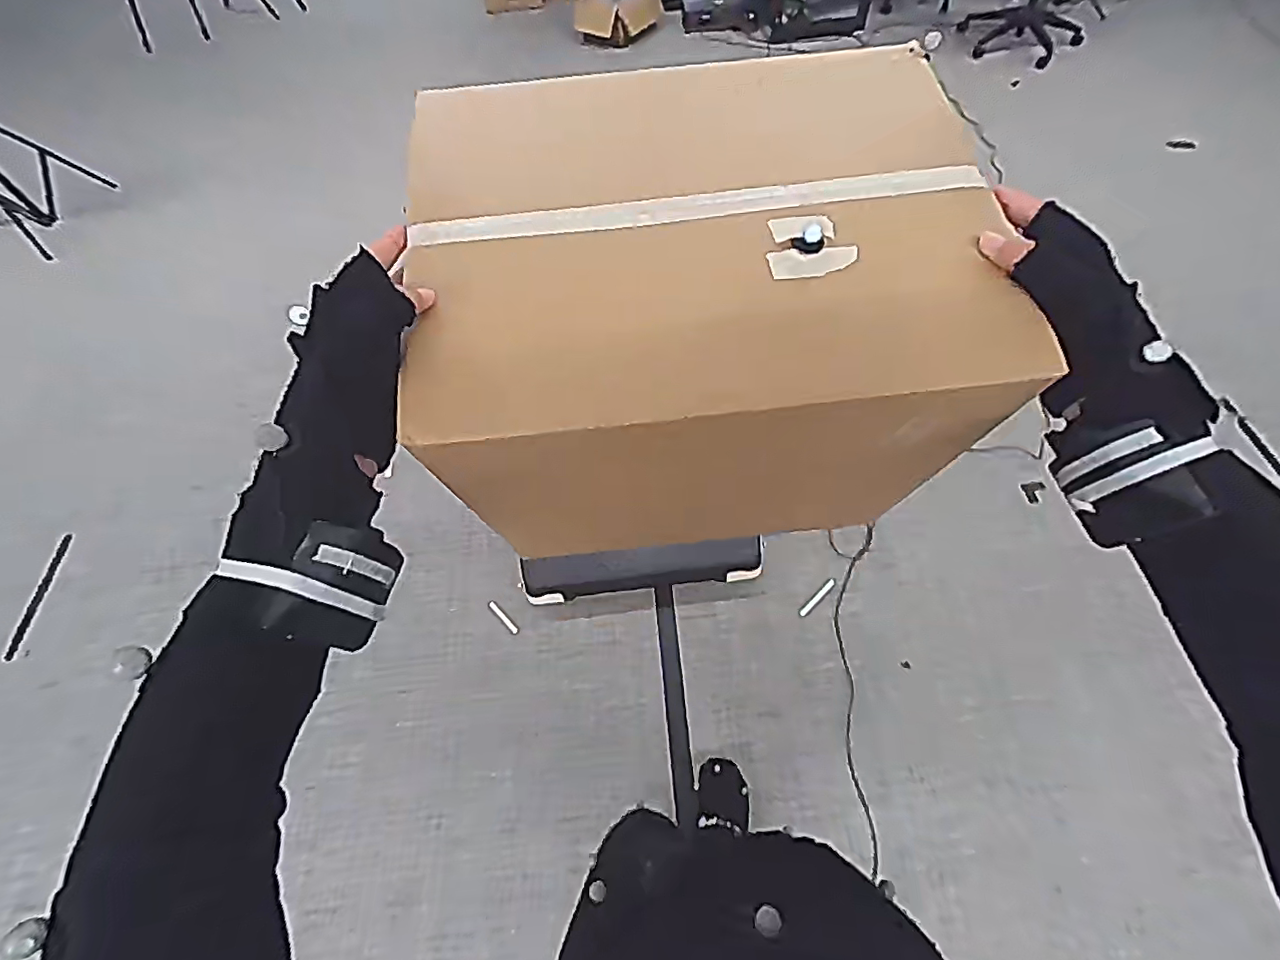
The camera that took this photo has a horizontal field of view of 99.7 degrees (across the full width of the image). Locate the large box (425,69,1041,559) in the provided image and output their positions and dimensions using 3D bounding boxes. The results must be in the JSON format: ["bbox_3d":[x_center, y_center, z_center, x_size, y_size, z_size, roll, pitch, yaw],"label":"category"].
[{"bbox_3d":[0.045,-0.128,0.532,0.408,0.320,0.320,-7,69,-2],"label":"large box"}]
